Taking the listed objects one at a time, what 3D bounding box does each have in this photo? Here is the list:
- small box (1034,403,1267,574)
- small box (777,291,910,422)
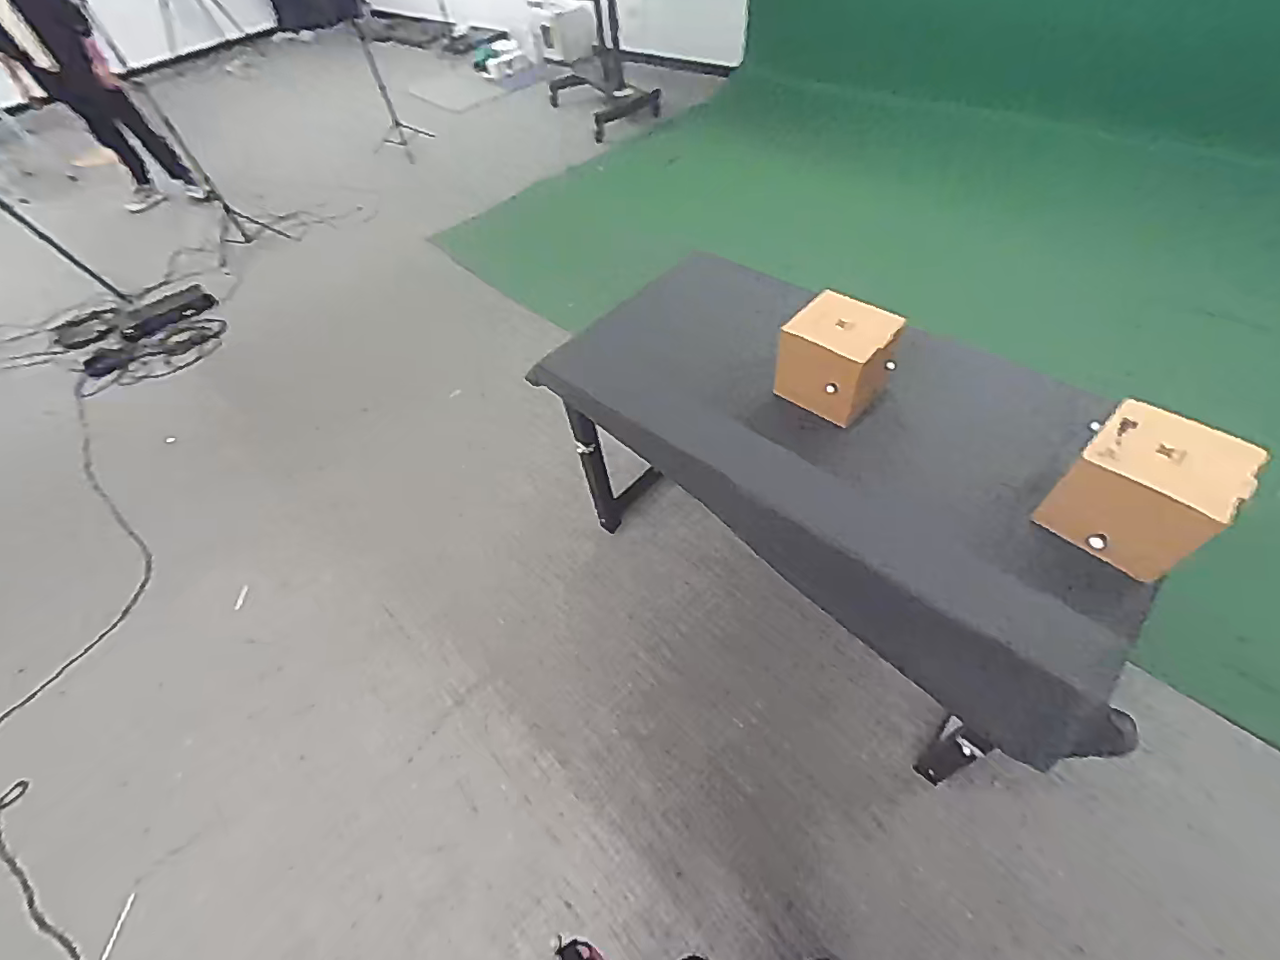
[{"bbox_3d":[0.765,0.021,0.831,0.168,0.176,0.179,-38,57,-21],"label":"small box"},{"bbox_3d":[0.397,-0.243,1.083,0.179,0.176,0.168,34,62,29],"label":"small box"}]
